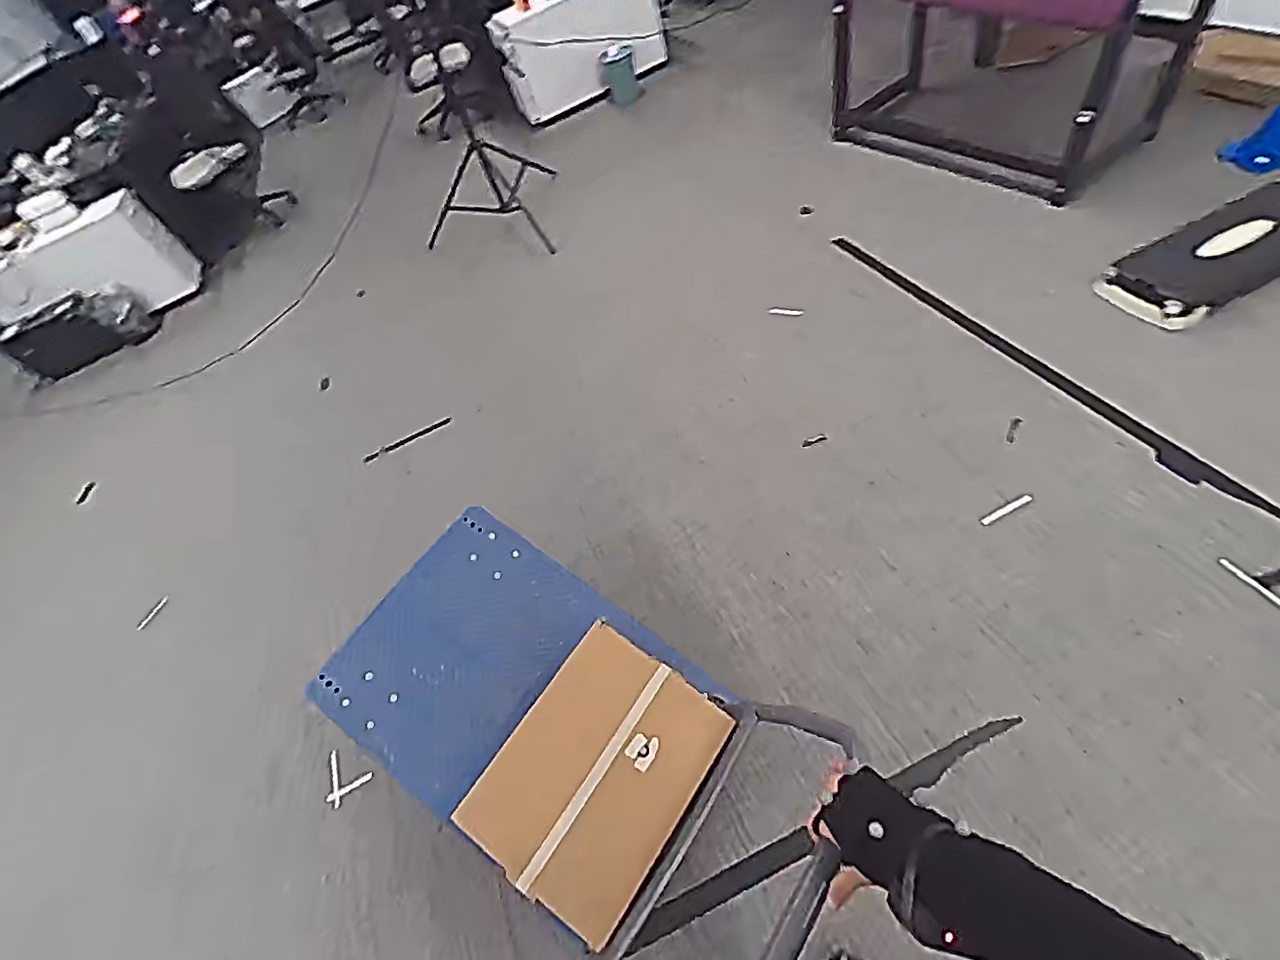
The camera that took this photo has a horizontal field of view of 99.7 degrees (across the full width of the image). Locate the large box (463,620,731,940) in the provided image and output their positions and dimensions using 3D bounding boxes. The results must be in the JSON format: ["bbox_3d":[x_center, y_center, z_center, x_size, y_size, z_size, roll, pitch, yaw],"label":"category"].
[{"bbox_3d":[-0.072,0.559,1.080,0.320,0.320,0.408,33,68,11],"label":"large box"}]
